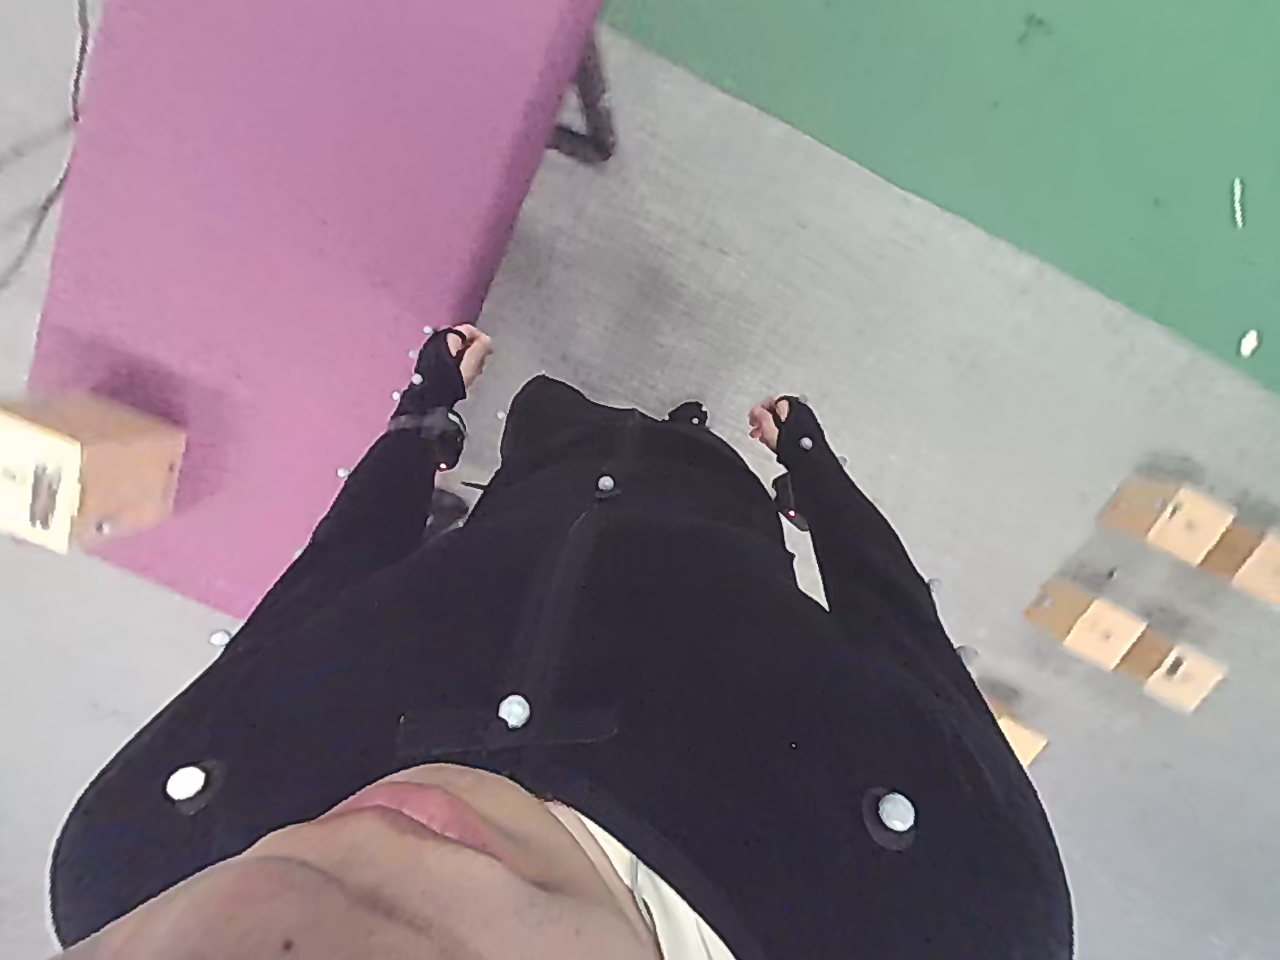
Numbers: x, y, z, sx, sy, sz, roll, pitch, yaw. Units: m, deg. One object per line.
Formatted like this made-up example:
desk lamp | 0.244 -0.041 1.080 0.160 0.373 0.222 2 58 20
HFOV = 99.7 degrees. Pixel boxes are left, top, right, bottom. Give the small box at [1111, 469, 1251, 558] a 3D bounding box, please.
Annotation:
small box | 1.481 0.085 1.492 0.179 0.176 0.168 26 102 -4

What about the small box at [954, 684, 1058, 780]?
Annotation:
small box | 1.113 0.766 1.665 0.168 0.176 0.179 28 103 -3

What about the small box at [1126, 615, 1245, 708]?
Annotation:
small box | 1.566 0.521 1.585 0.179 0.176 0.168 27 103 -4

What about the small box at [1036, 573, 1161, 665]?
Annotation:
small box | 1.319 0.395 1.569 0.179 0.176 0.168 27 102 -3
